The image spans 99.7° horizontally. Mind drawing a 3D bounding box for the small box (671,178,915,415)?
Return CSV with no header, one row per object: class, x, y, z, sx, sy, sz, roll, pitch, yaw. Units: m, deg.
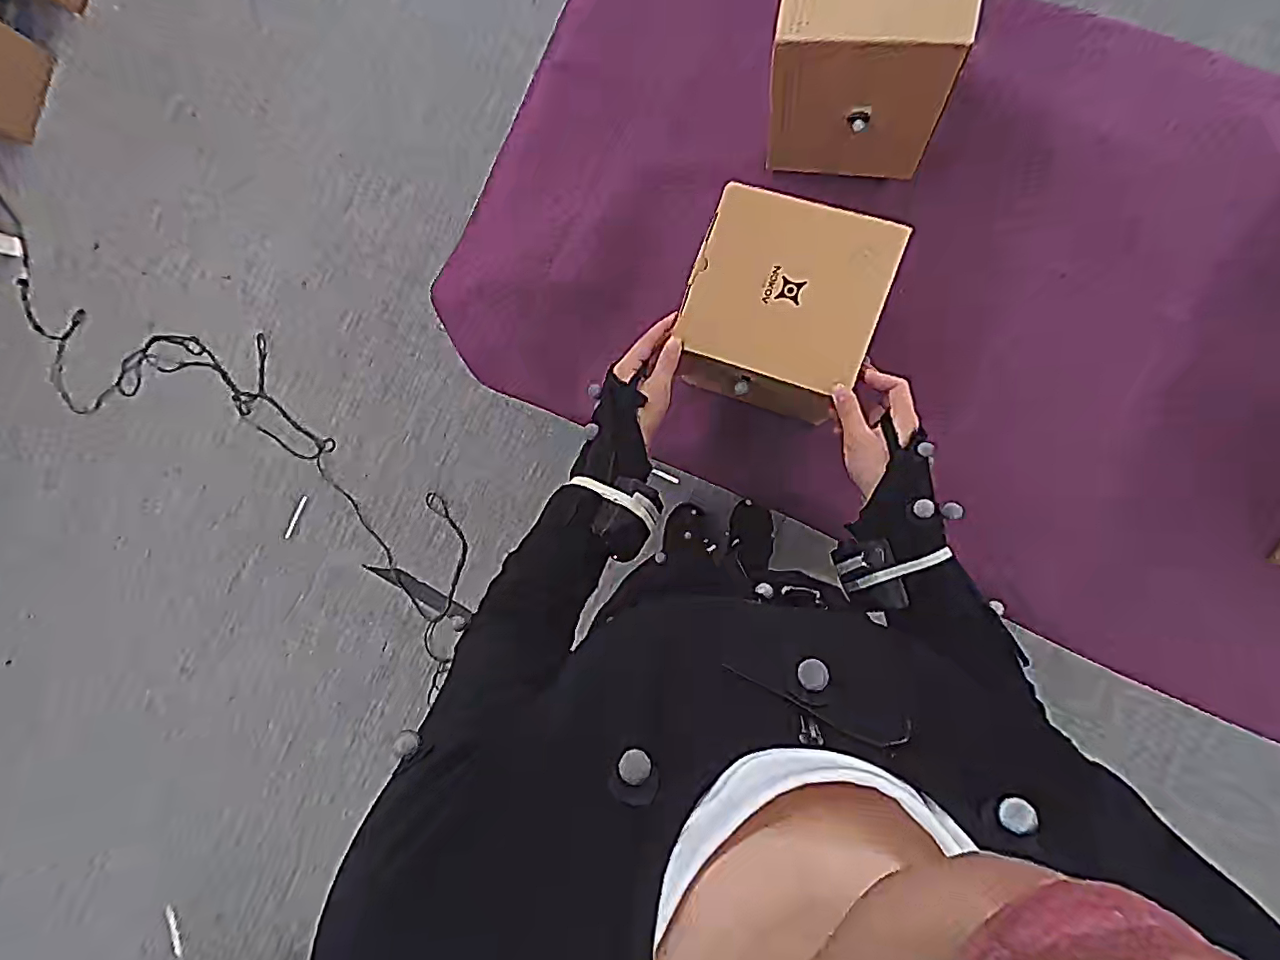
small box,0.151,-0.175,0.571,0.179,0.176,0.168,20,92,11
